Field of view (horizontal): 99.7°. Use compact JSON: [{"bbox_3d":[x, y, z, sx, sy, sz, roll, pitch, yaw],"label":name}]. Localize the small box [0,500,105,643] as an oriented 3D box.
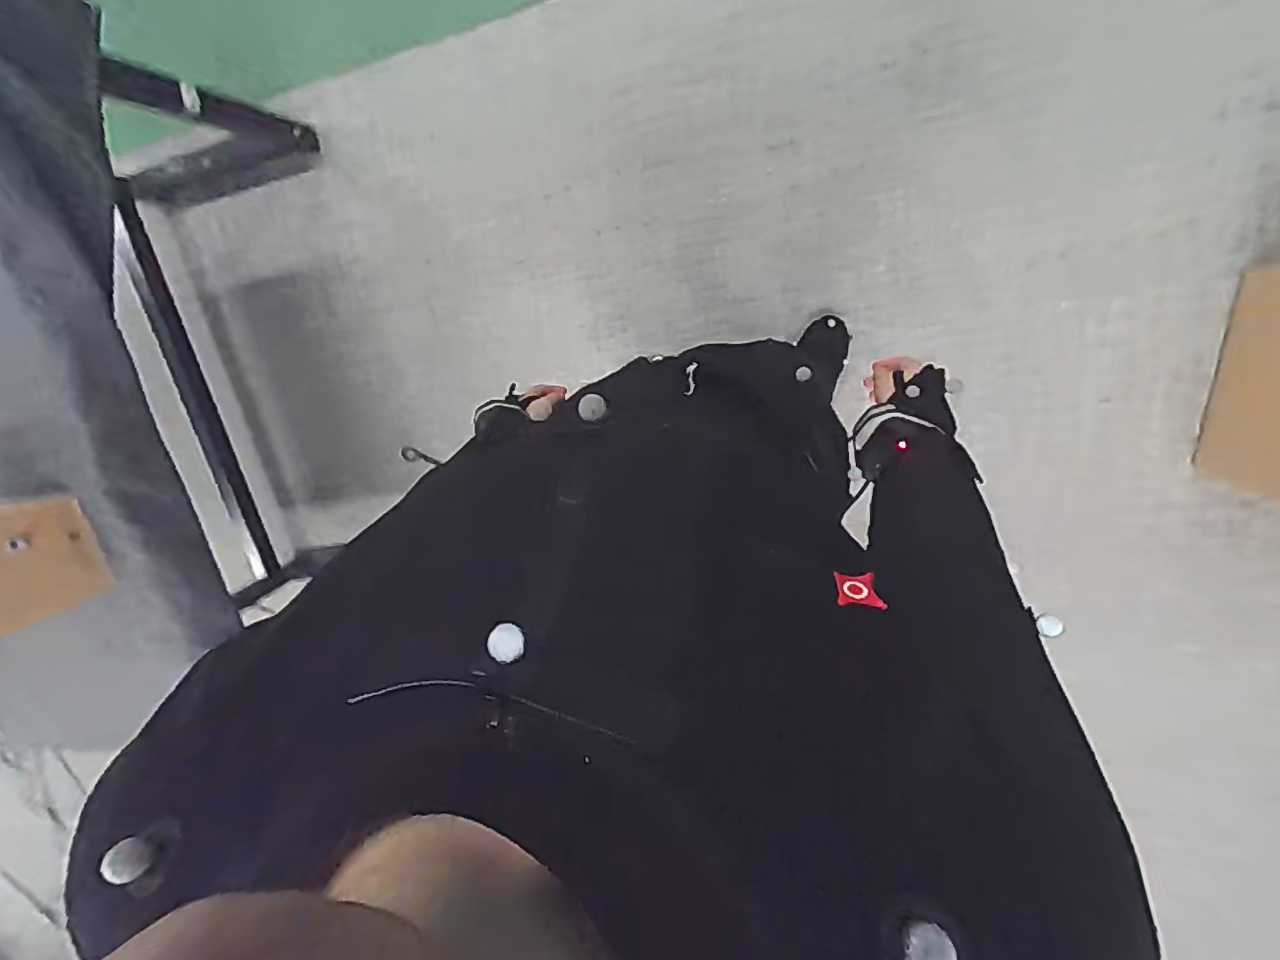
[{"bbox_3d":[-0.968,0.135,0.812,0.179,0.176,0.168,-5,106,16],"label":"small box"}]
